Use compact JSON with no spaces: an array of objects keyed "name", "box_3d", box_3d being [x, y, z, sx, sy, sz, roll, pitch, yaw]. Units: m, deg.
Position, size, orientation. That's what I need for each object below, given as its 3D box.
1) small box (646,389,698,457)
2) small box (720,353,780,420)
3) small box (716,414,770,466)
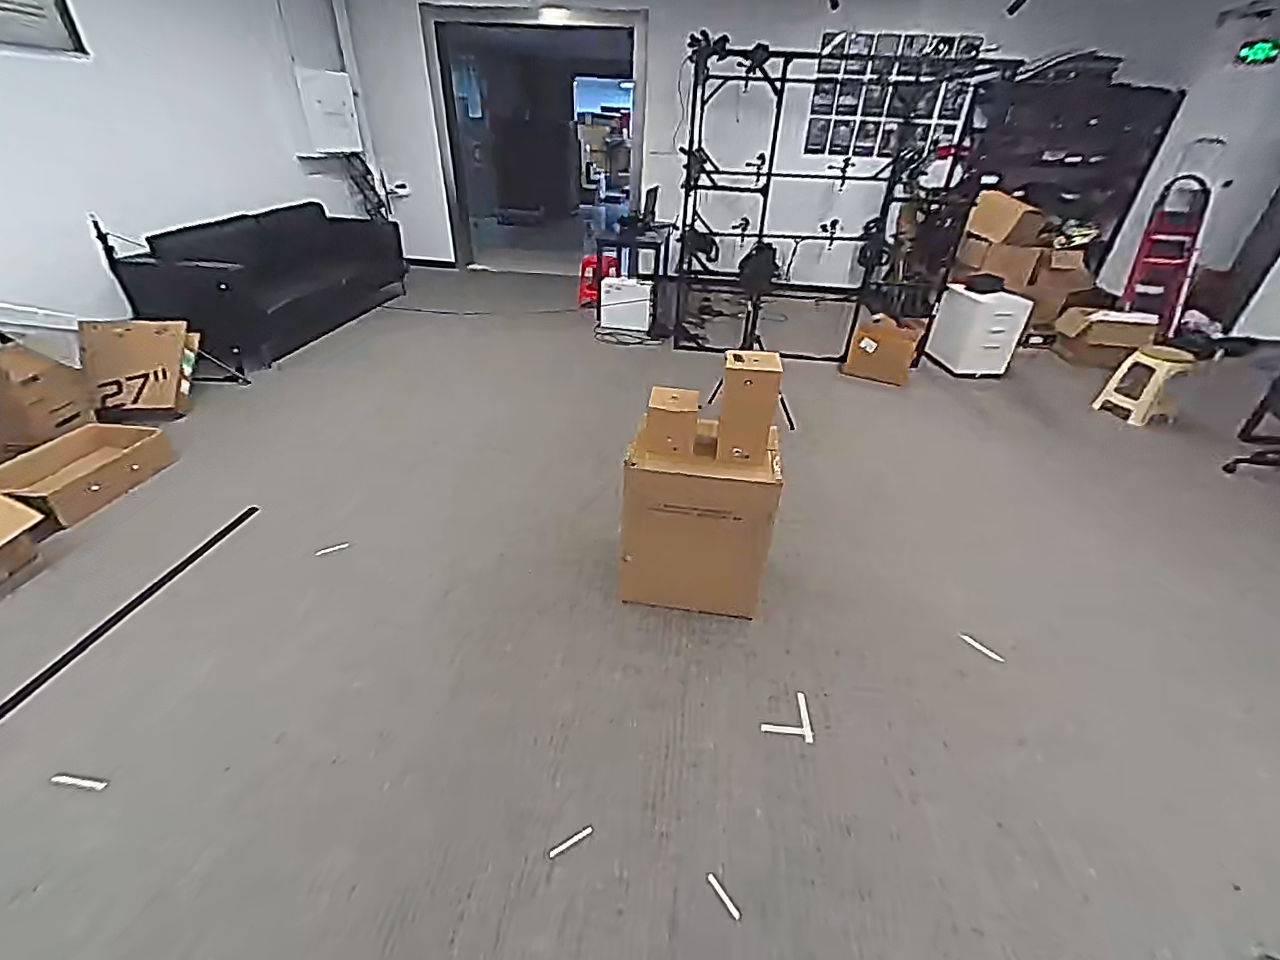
[{"name":"small box","box_3d":[0.112,-0.200,1.890,0.168,0.176,0.179,6,33,4]},{"name":"small box","box_3d":[0.355,-0.305,1.765,0.179,0.176,0.168,5,33,7]},{"name":"small box","box_3d":[0.351,-0.167,1.856,0.168,0.176,0.179,4,34,7]}]
